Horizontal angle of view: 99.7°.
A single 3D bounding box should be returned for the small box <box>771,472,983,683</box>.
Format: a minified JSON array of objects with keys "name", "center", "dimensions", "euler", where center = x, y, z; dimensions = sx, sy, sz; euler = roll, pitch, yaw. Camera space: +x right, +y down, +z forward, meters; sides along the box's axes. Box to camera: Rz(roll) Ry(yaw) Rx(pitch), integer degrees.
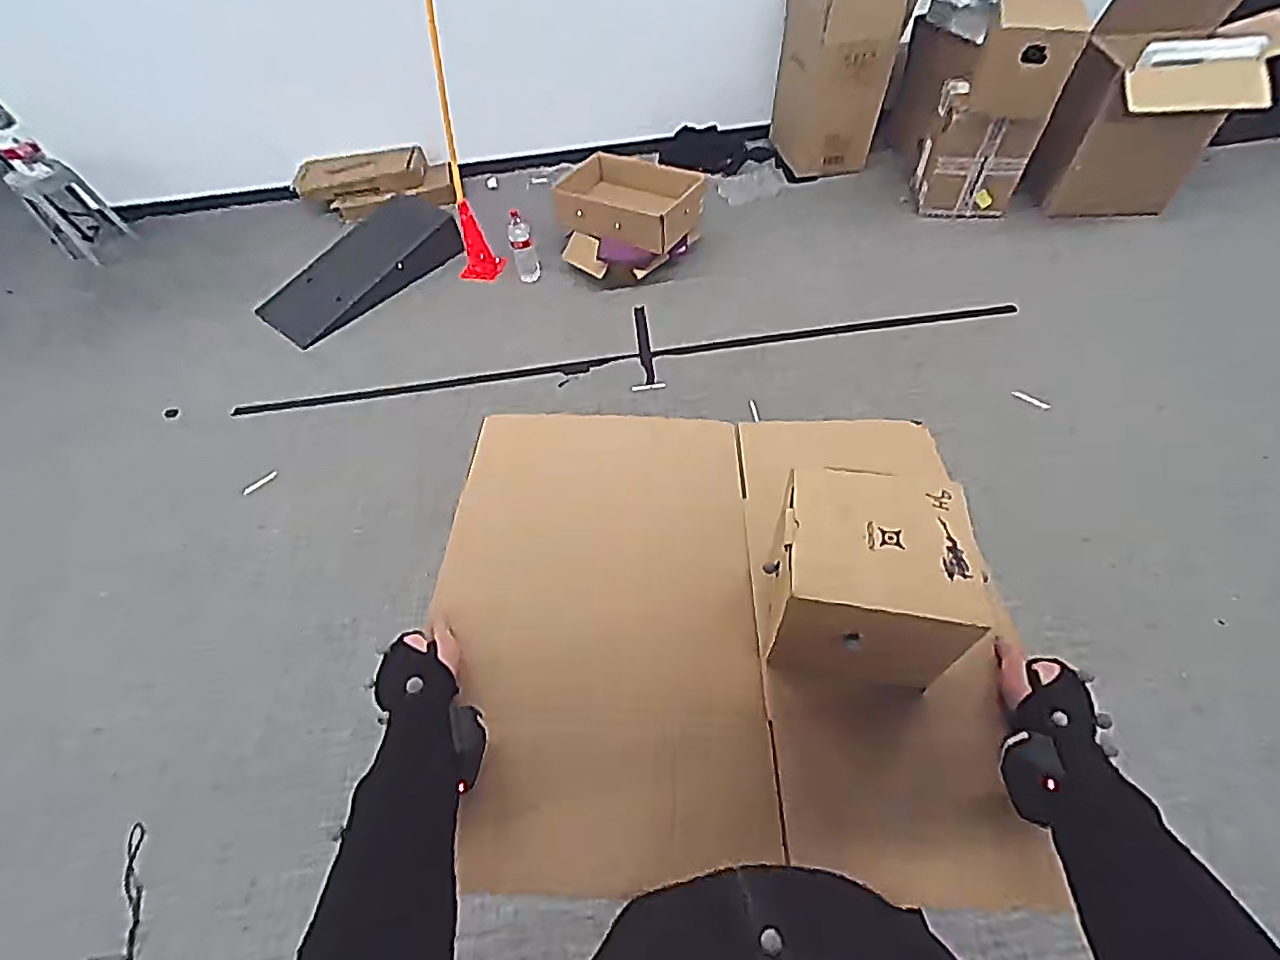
[{"name":"small box","center":[0.244,0.111,0.605],"dimensions":[0.179,0.176,0.168],"euler":[6,52,10]}]
